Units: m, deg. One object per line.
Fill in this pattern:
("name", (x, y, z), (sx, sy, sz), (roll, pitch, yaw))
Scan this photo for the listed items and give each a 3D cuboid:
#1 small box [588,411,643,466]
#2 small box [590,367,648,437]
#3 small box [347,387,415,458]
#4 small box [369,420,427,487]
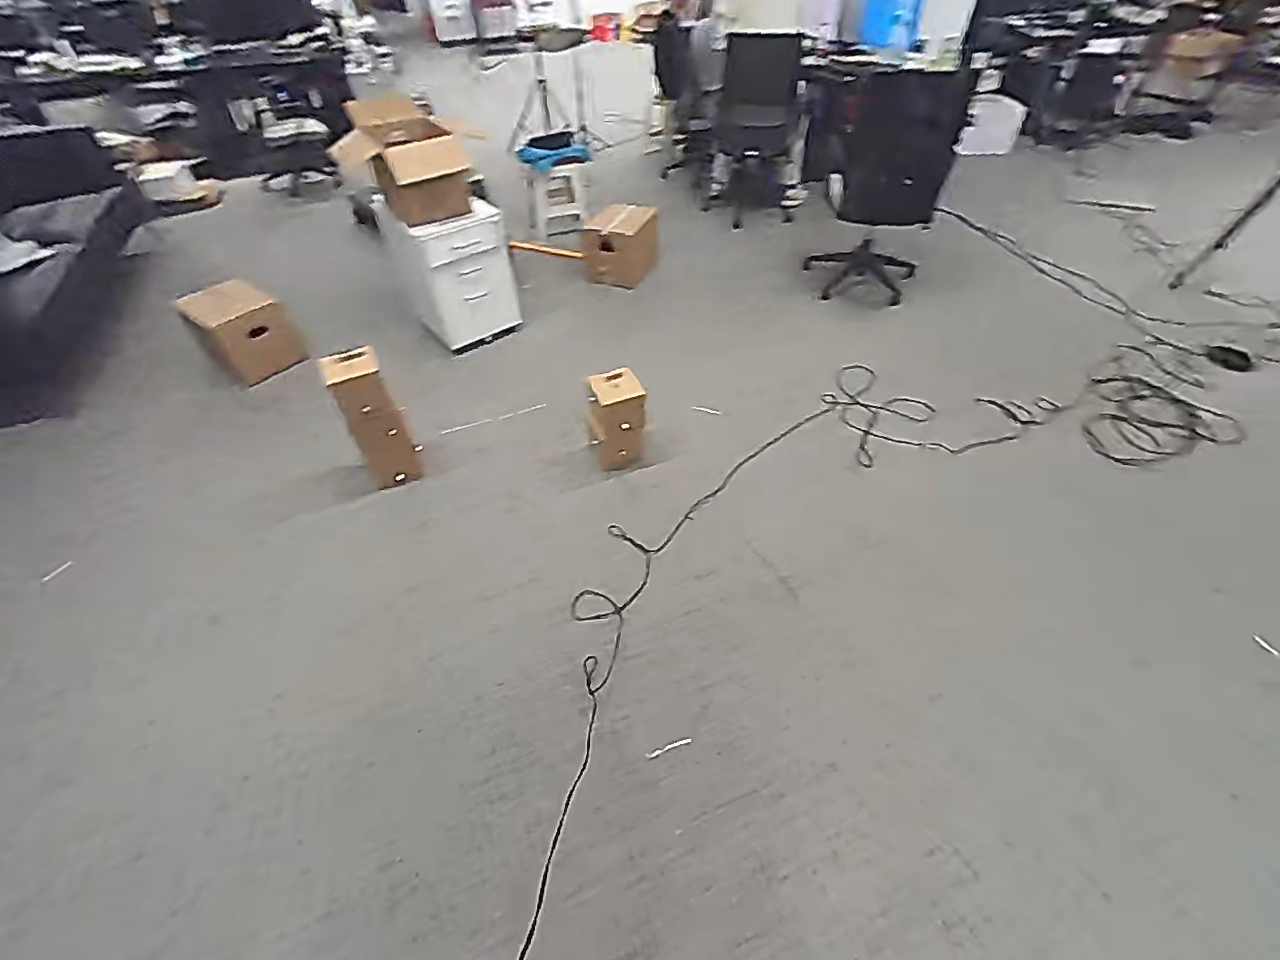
("small box", (-0.092, -0.175, 2.124), (0.168, 0.176, 0.179), (-19, 49, -15))
("small box", (-0.079, -0.289, 2.005), (0.168, 0.176, 0.179), (-18, 50, -14))
("small box", (-0.941, -0.209, 1.979), (0.179, 0.176, 0.168), (-22, 48, -15))
("small box", (-0.941, -0.103, 2.104), (0.179, 0.176, 0.168), (-18, 48, -15))
